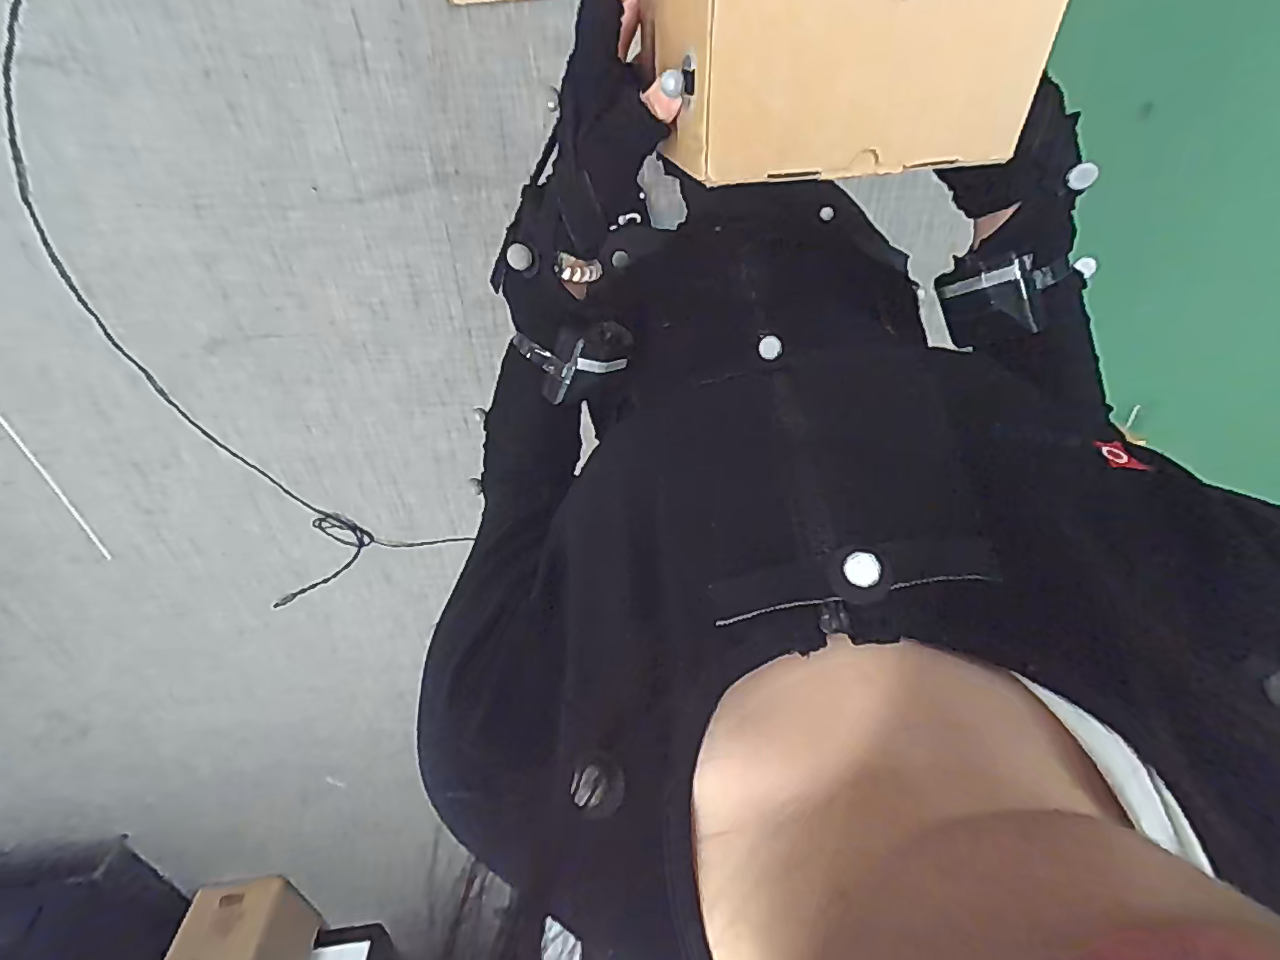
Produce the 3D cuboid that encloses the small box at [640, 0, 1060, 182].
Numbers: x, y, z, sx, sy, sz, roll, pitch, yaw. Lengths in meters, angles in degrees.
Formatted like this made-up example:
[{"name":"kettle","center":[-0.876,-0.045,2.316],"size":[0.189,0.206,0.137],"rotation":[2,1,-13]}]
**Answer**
[{"name":"small box","center":[0.093,-0.273,0.280],"size":[0.168,0.176,0.179],"rotation":[-9,130,-6]}]
